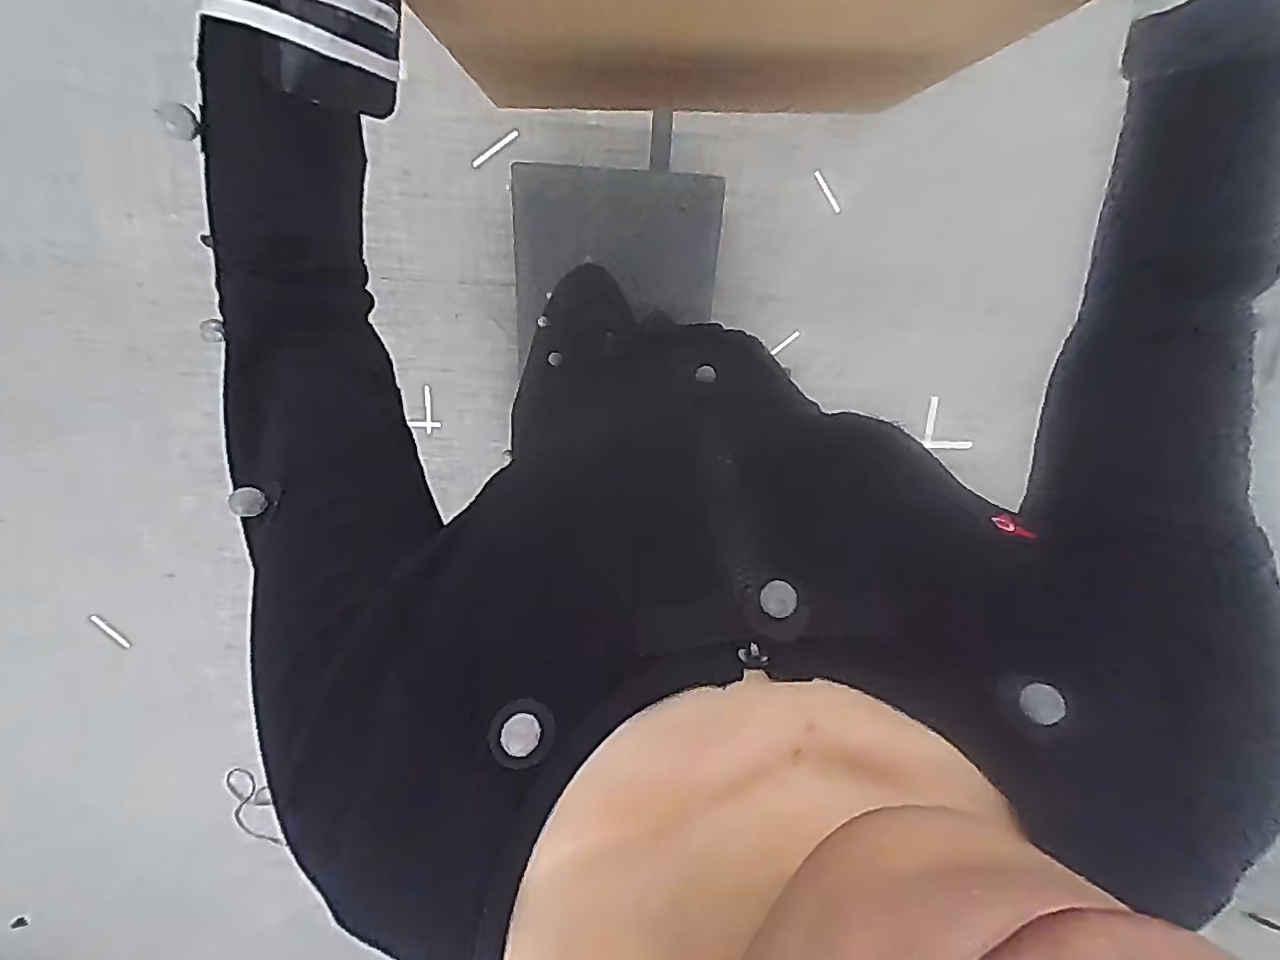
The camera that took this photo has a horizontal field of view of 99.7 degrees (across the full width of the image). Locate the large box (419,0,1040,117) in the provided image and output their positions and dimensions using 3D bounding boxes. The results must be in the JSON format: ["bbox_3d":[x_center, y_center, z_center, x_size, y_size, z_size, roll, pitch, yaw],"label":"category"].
[{"bbox_3d":[0.053,-0.470,0.371,0.408,0.320,0.320,-1,113,-2],"label":"large box"}]
